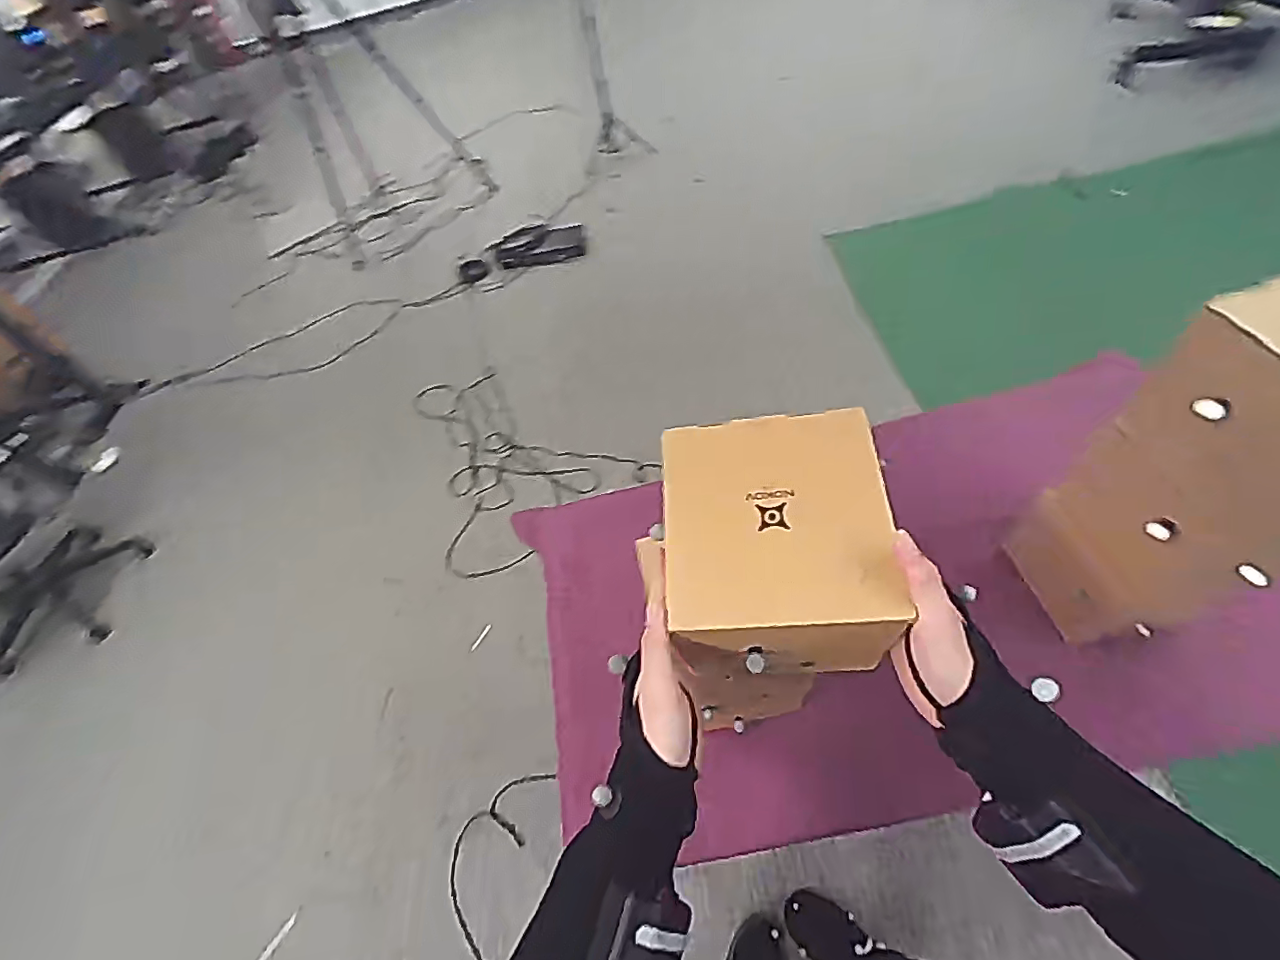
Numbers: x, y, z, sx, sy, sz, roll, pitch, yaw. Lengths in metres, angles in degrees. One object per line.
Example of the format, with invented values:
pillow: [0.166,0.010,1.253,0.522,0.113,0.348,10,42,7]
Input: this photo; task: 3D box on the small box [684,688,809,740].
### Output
small box: [0.132,0.256,0.787,0.168,0.176,0.179,-14,54,2]

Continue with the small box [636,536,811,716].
small box: [0.103,0.169,0.651,0.168,0.176,0.179,-14,52,3]

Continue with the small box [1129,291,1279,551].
small box: [0.623,-0.062,0.497,0.168,0.176,0.179,-16,52,2]

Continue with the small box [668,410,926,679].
small box: [0.118,0.067,0.457,0.168,0.176,0.179,-5,59,10]
